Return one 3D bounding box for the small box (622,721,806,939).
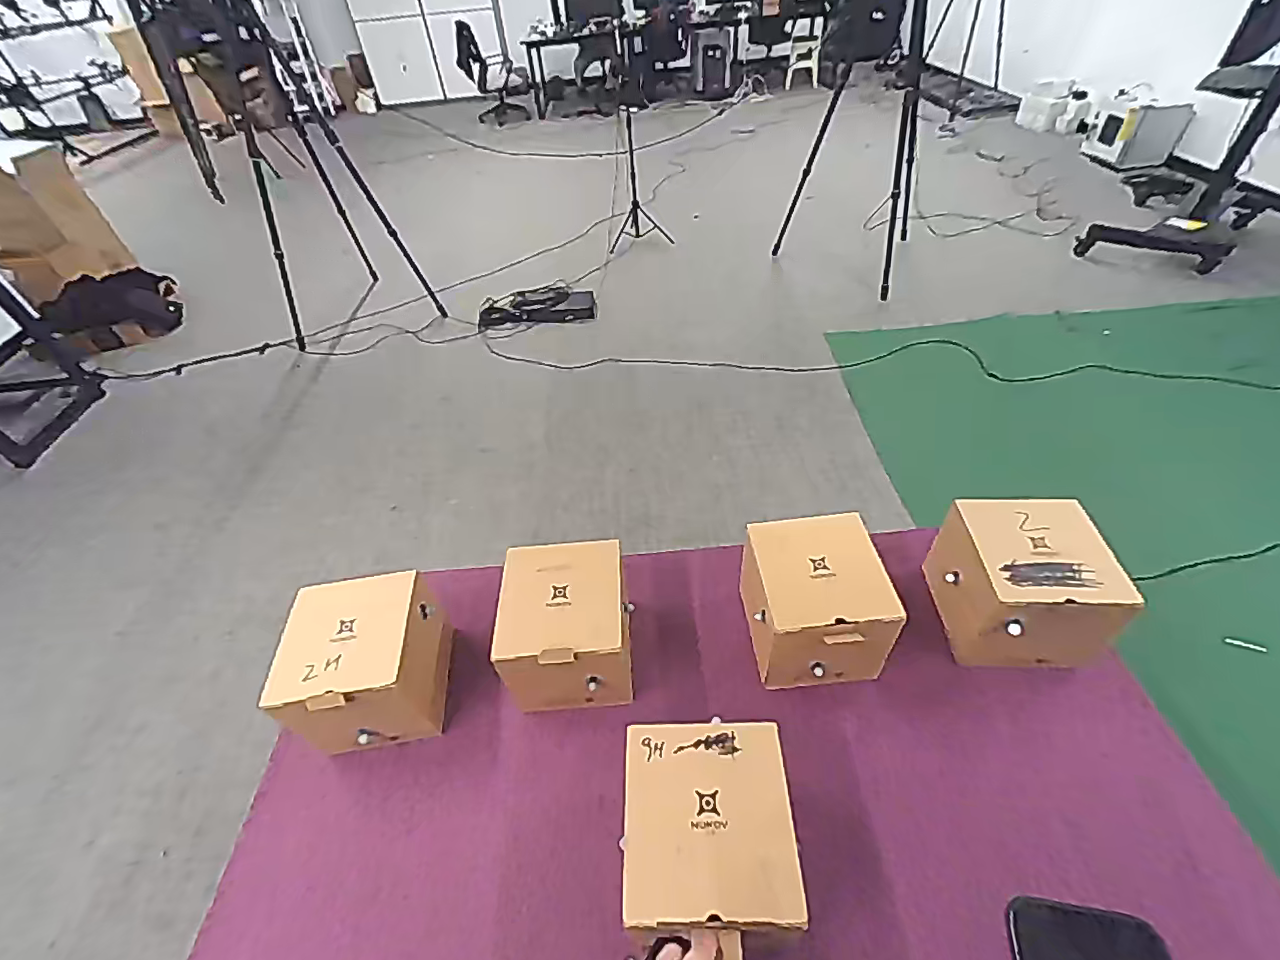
[{"bbox_3d":[0.074,0.383,0.590,0.168,0.176,0.179,-3,46,3],"label":"small box"}]

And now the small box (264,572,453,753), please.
[{"bbox_3d":[-0.377,0.258,0.767,0.168,0.176,0.179,-9,46,-2],"label":"small box"}]

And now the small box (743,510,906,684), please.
[{"bbox_3d":[0.248,0.169,0.780,0.168,0.176,0.179,-7,46,0],"label":"small box"}]

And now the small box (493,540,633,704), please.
[{"bbox_3d":[-0.099,0.210,0.782,0.168,0.176,0.179,-4,45,1],"label":"small box"}]
